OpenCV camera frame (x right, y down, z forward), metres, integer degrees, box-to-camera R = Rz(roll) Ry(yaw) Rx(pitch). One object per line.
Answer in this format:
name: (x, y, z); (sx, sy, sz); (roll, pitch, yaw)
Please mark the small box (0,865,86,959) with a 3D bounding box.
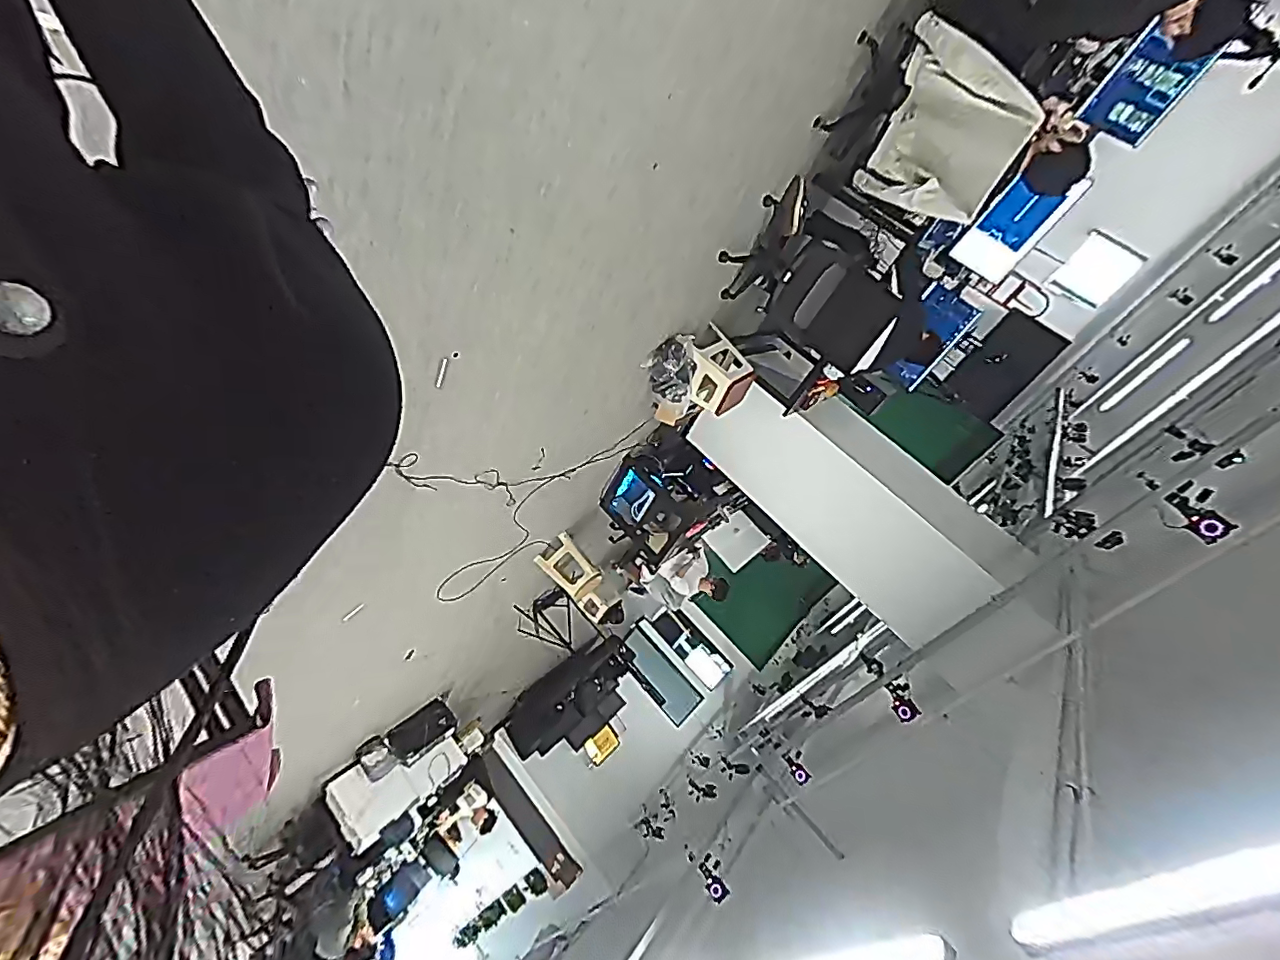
small box: (-1.445, 1.051, 1.263); (0.168, 0.176, 0.179); (-24, 154, -51)
